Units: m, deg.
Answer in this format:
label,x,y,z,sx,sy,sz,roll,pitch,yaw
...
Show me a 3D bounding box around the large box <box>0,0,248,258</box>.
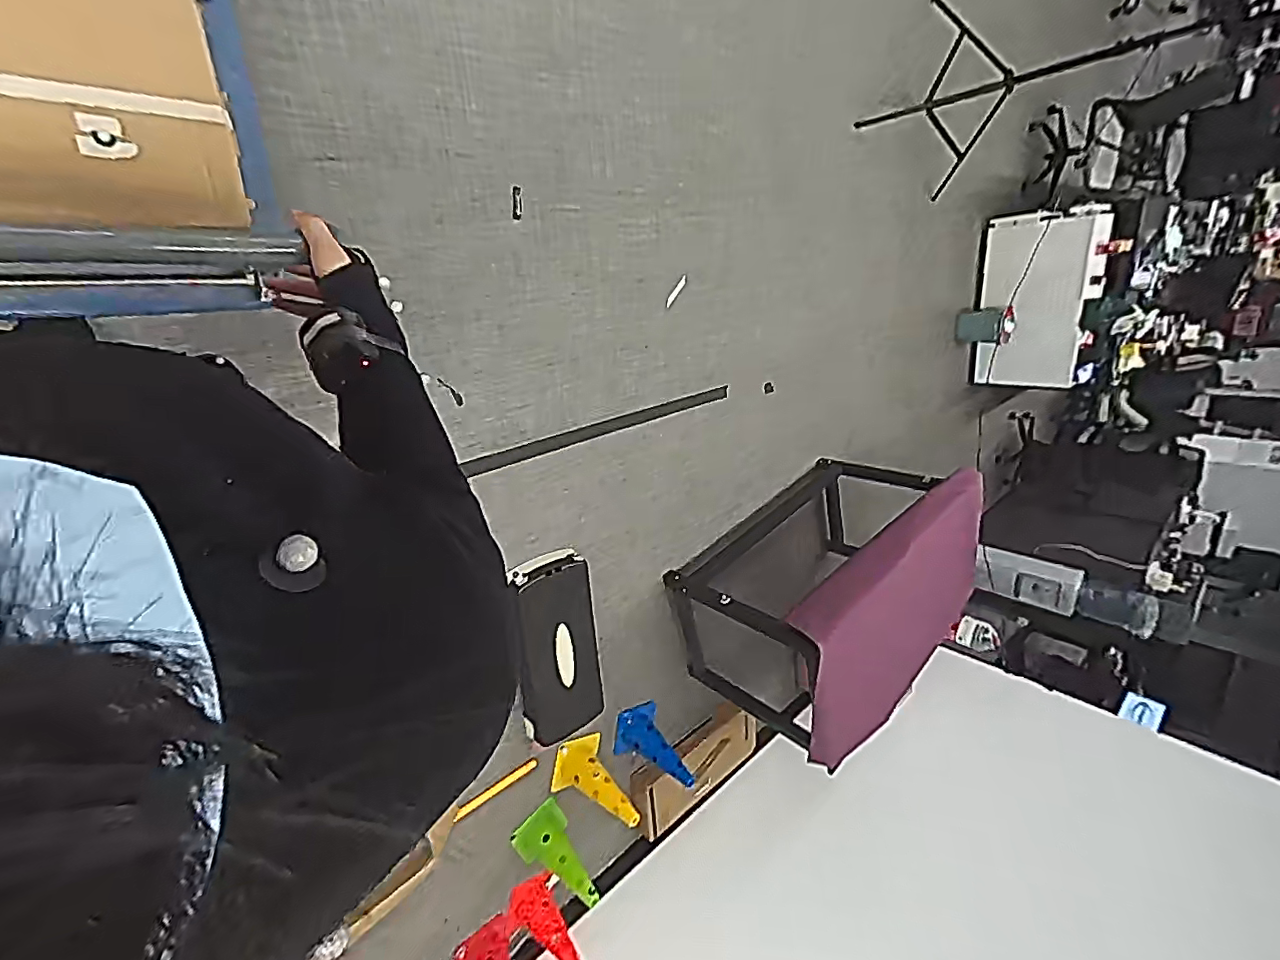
label,x,y,z,sx,sy,sz,roll,pitch,yaw
large box,-0.836,-0.486,0.743,0.408,0.320,0.320,-17,113,-38
